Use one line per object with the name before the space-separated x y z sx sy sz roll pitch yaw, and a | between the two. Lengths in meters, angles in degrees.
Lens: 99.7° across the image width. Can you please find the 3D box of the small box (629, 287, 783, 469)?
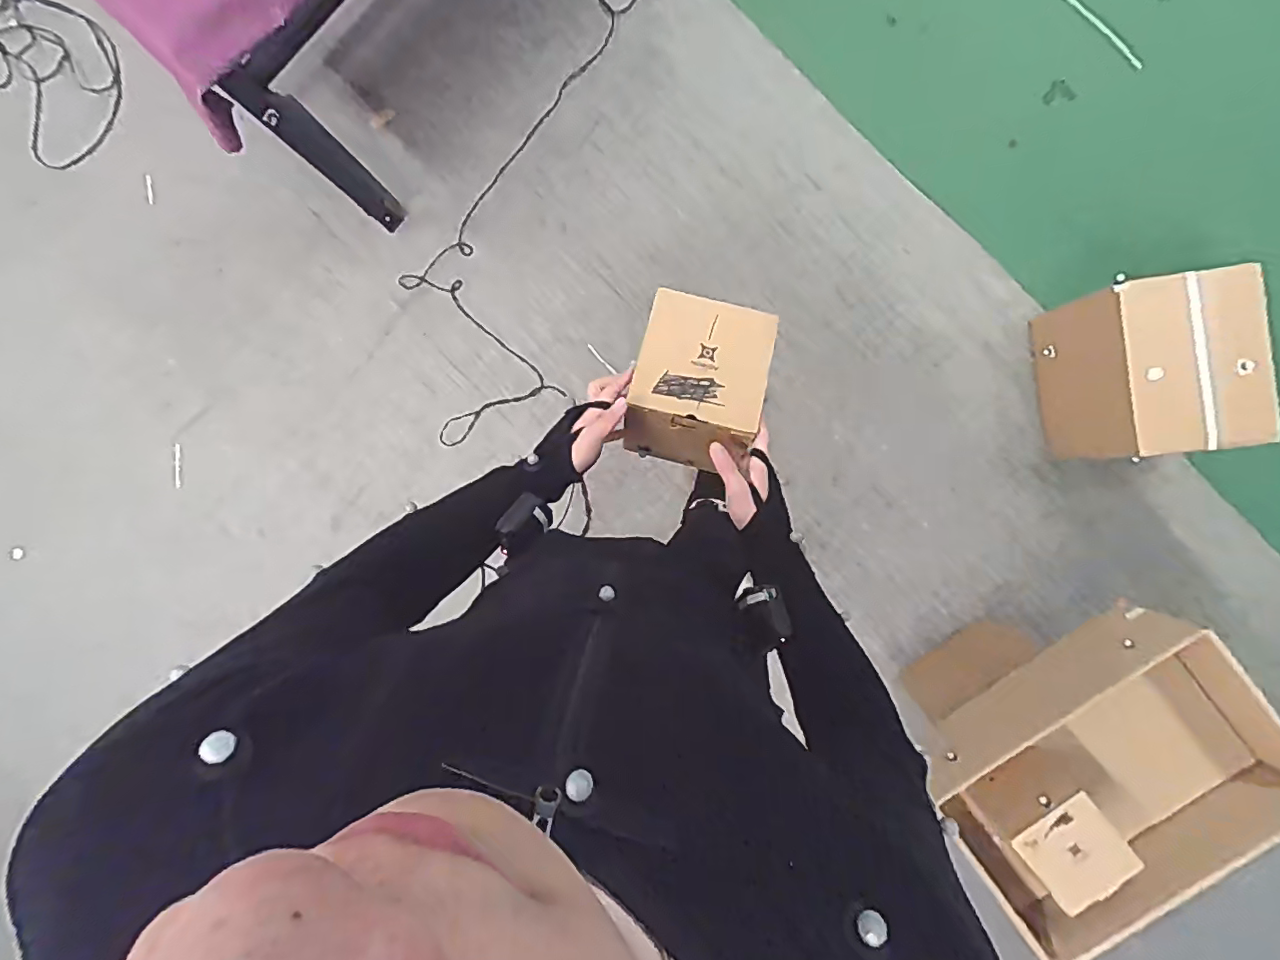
small box | 0.083 -0.130 0.755 0.168 0.176 0.179 14 73 1
